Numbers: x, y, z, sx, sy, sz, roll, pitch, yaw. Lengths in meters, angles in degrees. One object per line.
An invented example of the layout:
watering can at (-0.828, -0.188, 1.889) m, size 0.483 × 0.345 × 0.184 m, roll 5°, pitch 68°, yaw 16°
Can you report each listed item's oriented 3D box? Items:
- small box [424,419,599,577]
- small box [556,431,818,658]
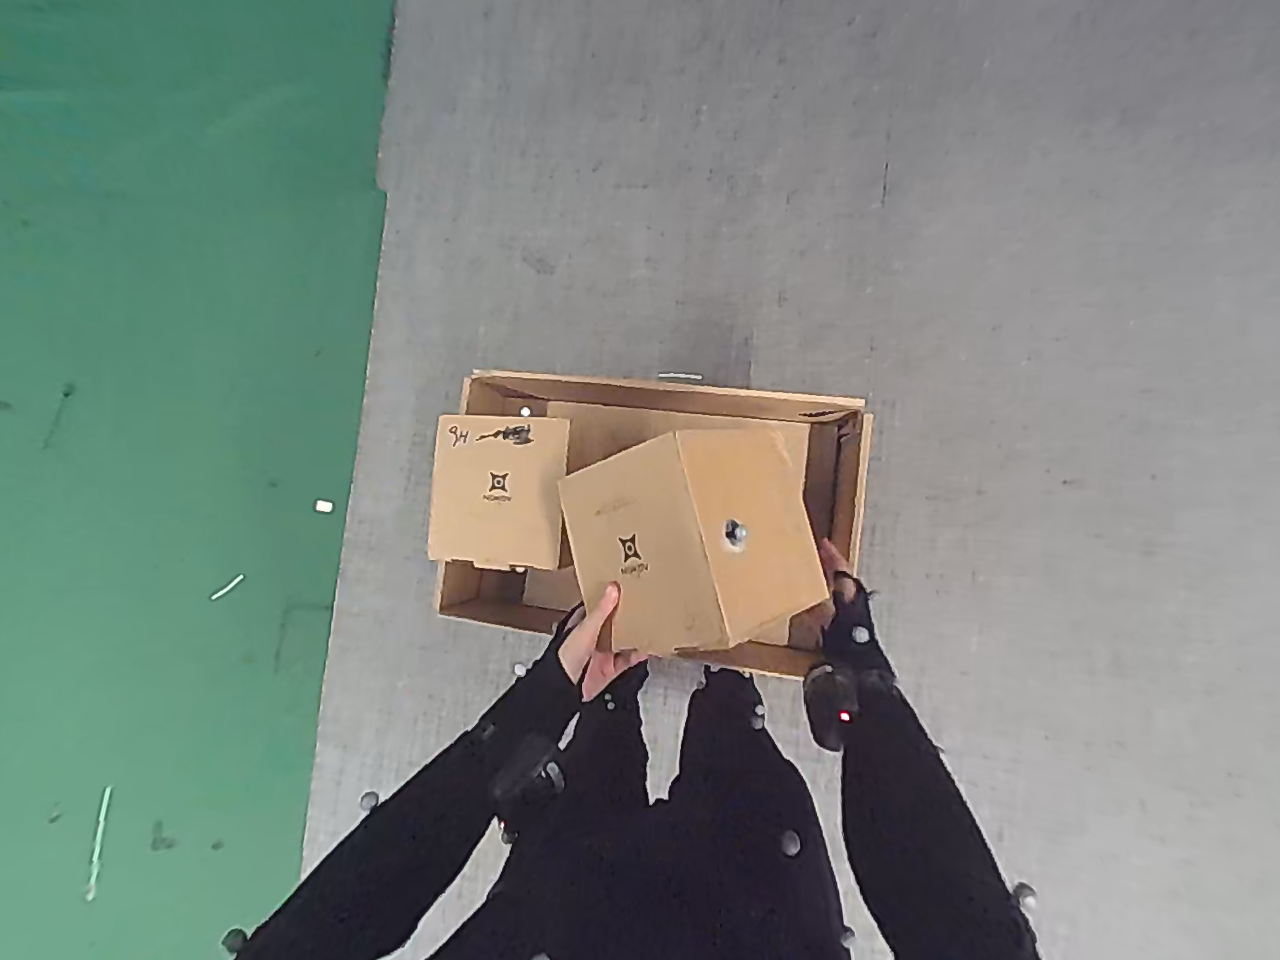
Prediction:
small box at (-0.155, 0.022, 0.702) m, size 0.168 × 0.176 × 0.179 m, roll 3°, pitch 88°, yaw 10°
small box at (0.048, 0.059, 0.524) m, size 0.168 × 0.176 × 0.179 m, roll -20°, pitch 81°, yaw 45°
